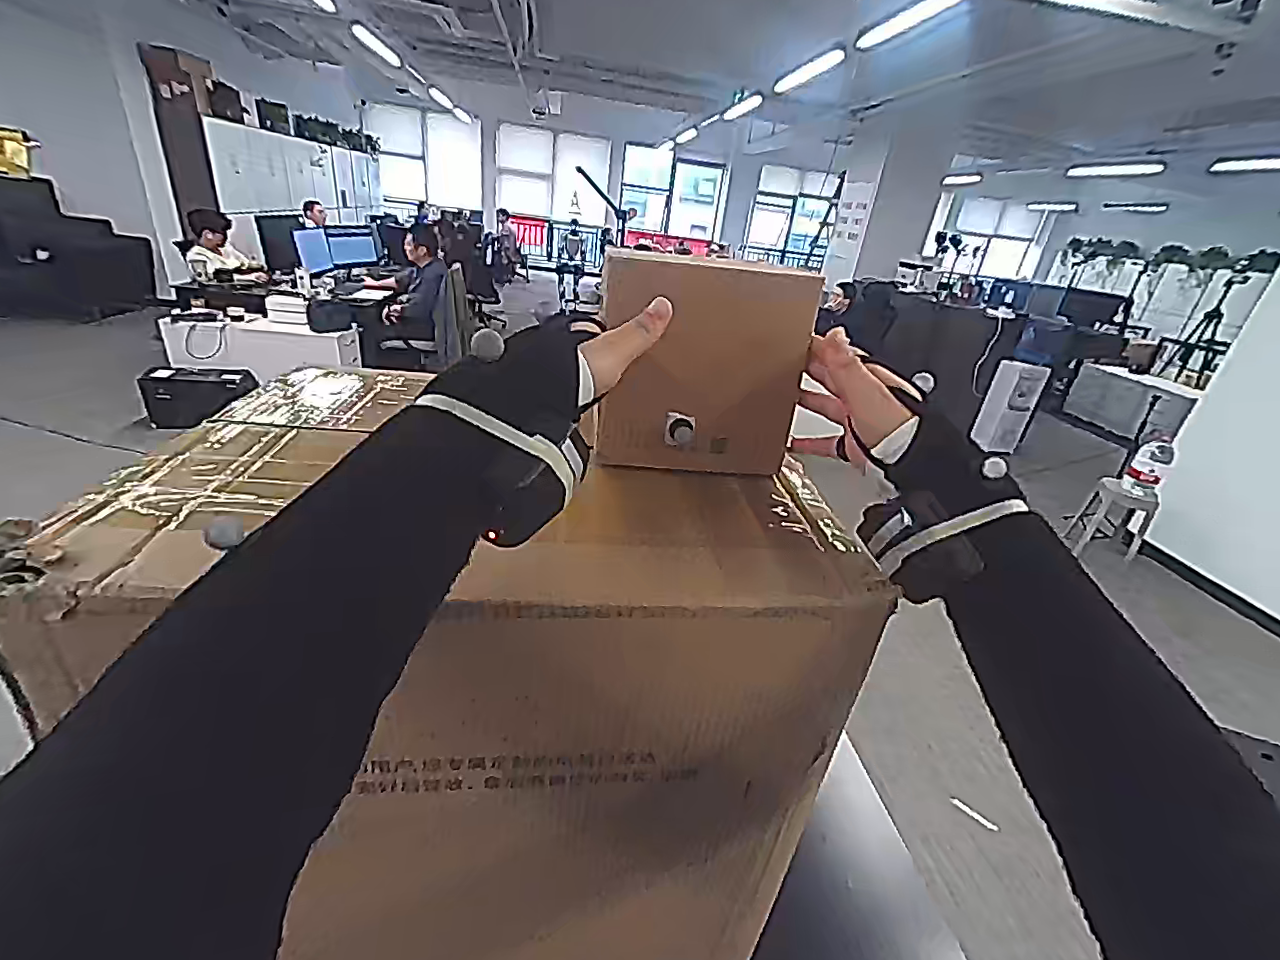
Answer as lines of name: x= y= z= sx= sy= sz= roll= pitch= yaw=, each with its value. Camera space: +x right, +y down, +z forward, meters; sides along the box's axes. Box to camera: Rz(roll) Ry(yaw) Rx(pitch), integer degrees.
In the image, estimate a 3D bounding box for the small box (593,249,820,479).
small box: x=0.042 y=-0.113 z=0.504 sx=0.168 sy=0.176 sz=0.179 roll=1 pitch=26 yaw=-6
